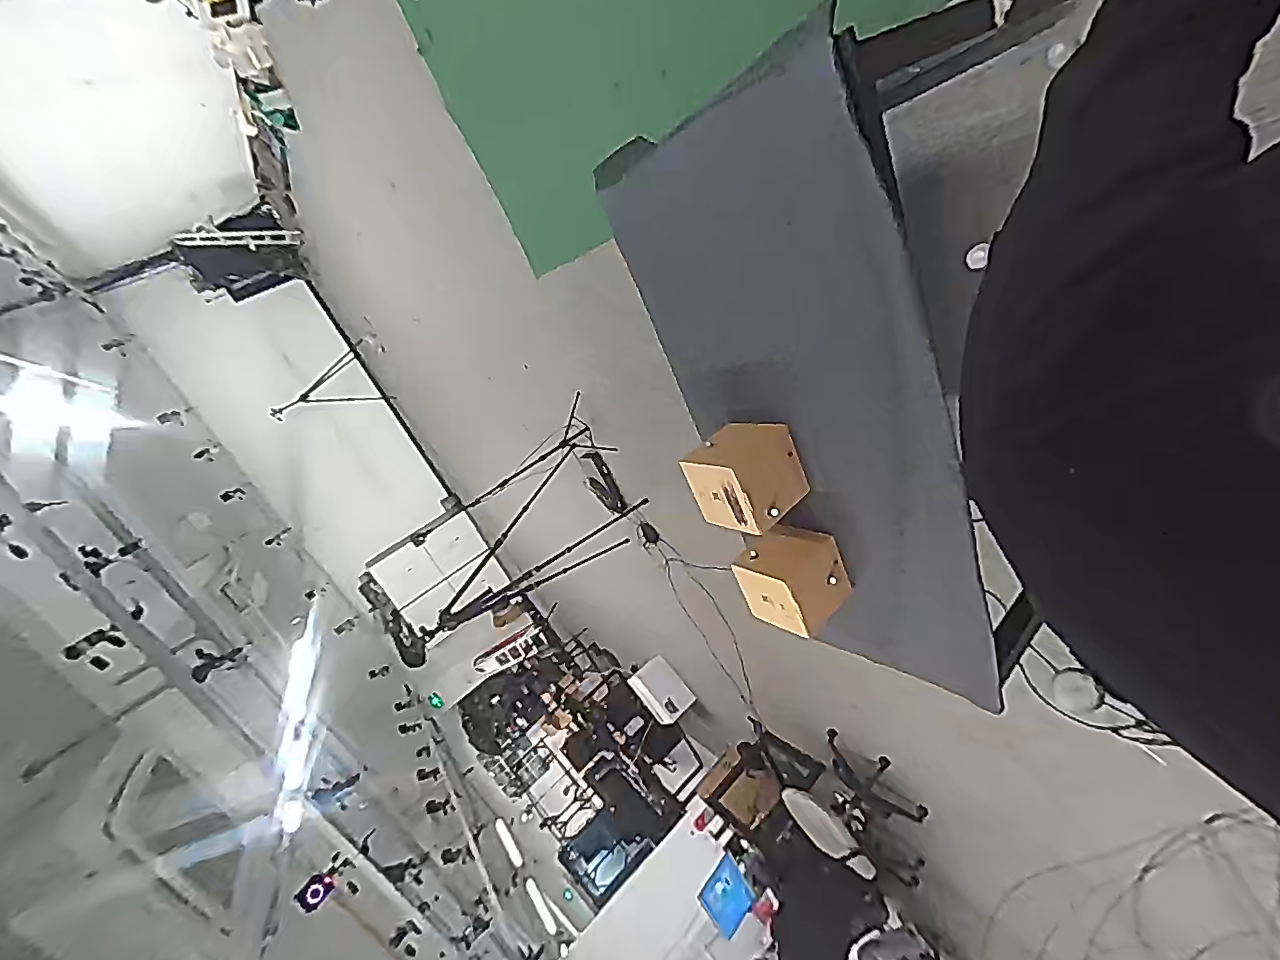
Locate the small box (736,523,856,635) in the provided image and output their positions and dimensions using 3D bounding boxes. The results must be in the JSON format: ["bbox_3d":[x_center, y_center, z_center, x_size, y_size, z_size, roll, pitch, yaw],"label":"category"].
[{"bbox_3d":[0.360,0.218,1.246,0.179,0.176,0.168,9,131,57],"label":"small box"}]
